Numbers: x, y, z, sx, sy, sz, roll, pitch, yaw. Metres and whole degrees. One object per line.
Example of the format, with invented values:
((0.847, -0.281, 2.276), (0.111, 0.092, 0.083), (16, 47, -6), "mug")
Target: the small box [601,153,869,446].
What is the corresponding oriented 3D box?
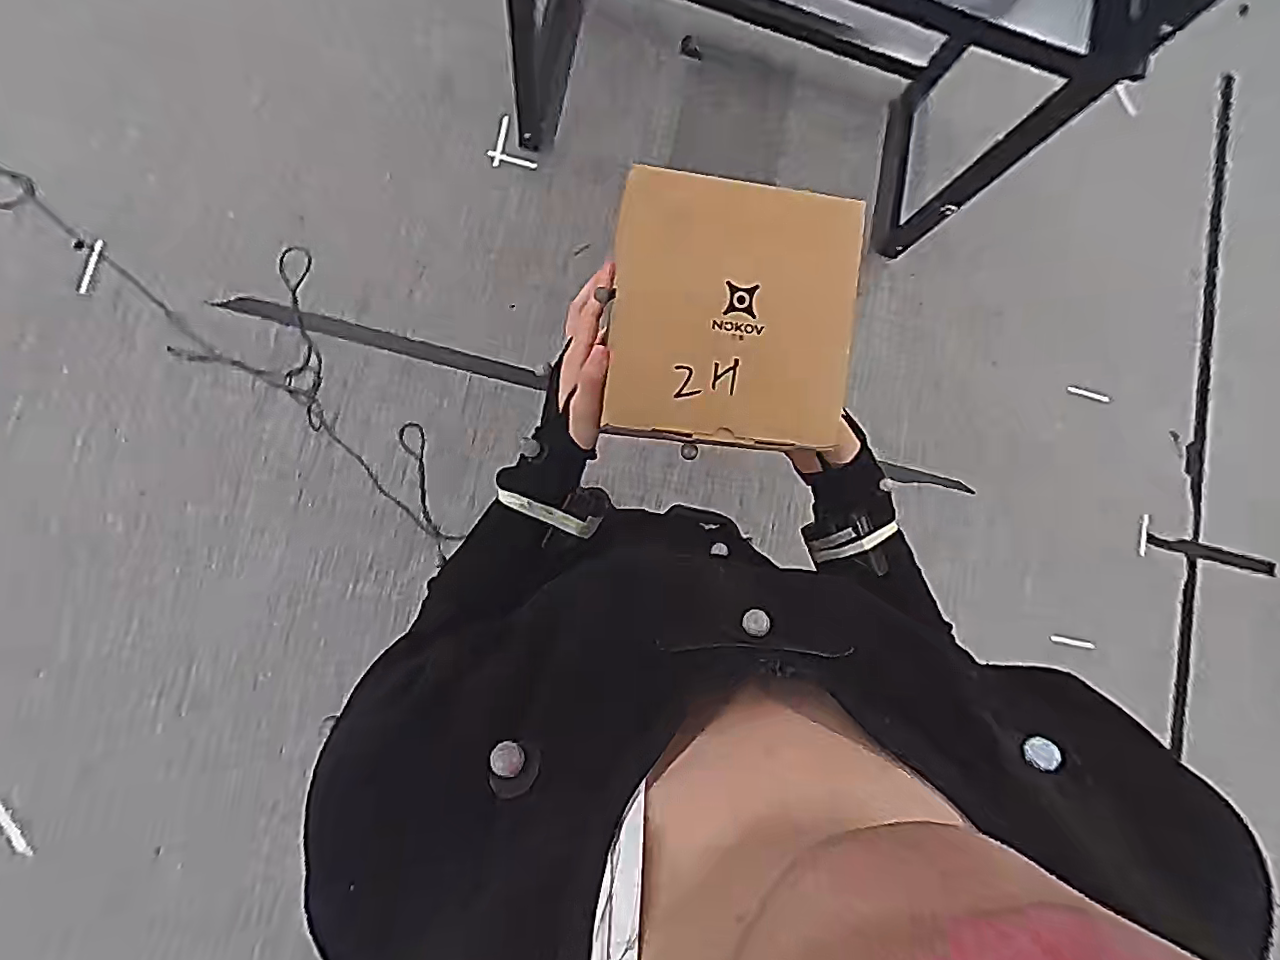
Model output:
((0.059, -0.123, 0.441), (0.168, 0.176, 0.179), (5, 93, -6), "small box")
